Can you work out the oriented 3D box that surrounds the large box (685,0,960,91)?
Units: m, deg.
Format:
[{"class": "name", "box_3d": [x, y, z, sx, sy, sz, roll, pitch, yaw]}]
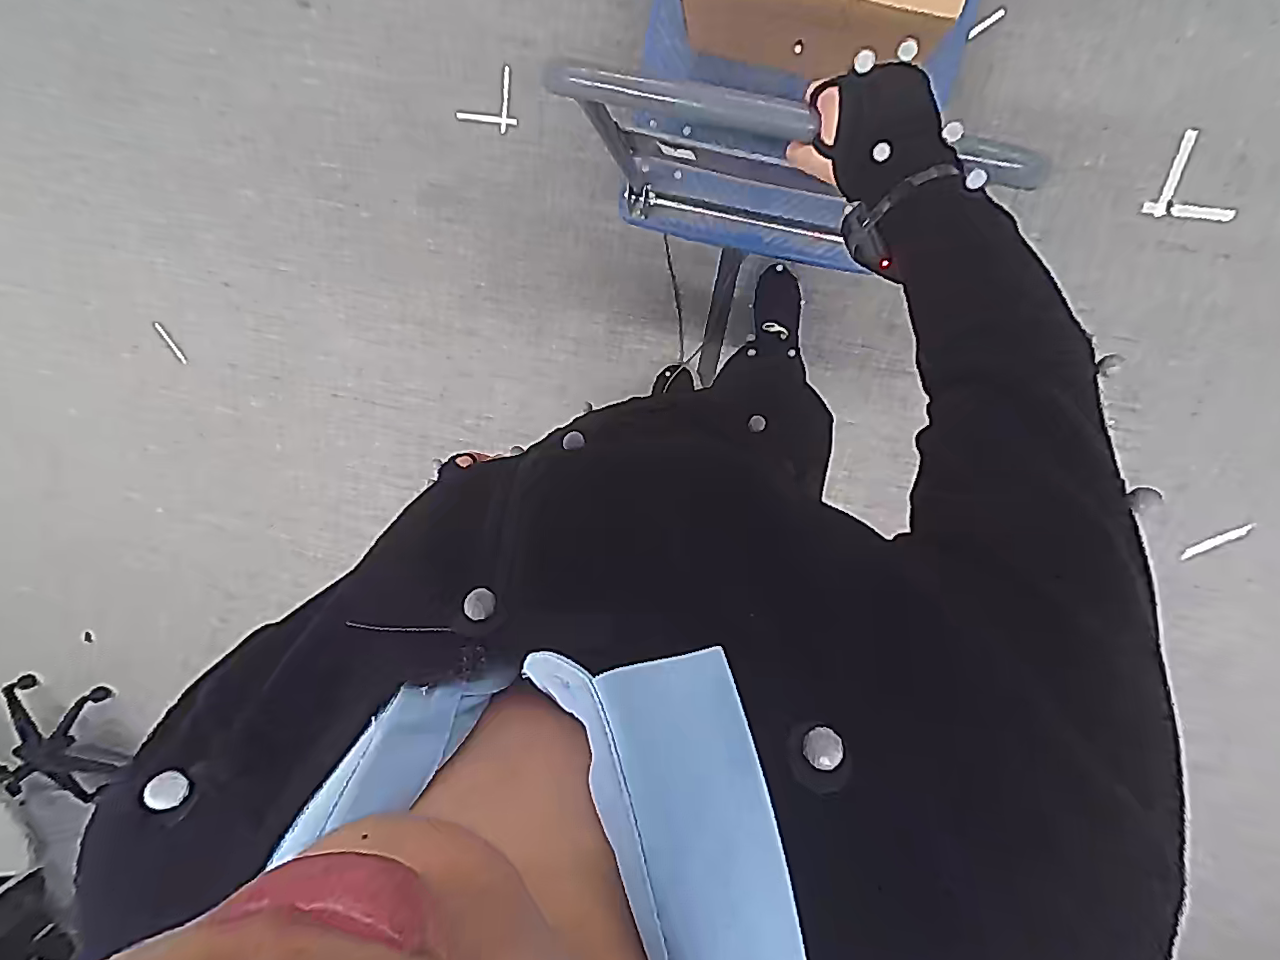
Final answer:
[{"class": "large box", "box_3d": [0.305, -0.873, 0.850, 0.408, 0.320, 0.320, 16, 110, 5]}]
